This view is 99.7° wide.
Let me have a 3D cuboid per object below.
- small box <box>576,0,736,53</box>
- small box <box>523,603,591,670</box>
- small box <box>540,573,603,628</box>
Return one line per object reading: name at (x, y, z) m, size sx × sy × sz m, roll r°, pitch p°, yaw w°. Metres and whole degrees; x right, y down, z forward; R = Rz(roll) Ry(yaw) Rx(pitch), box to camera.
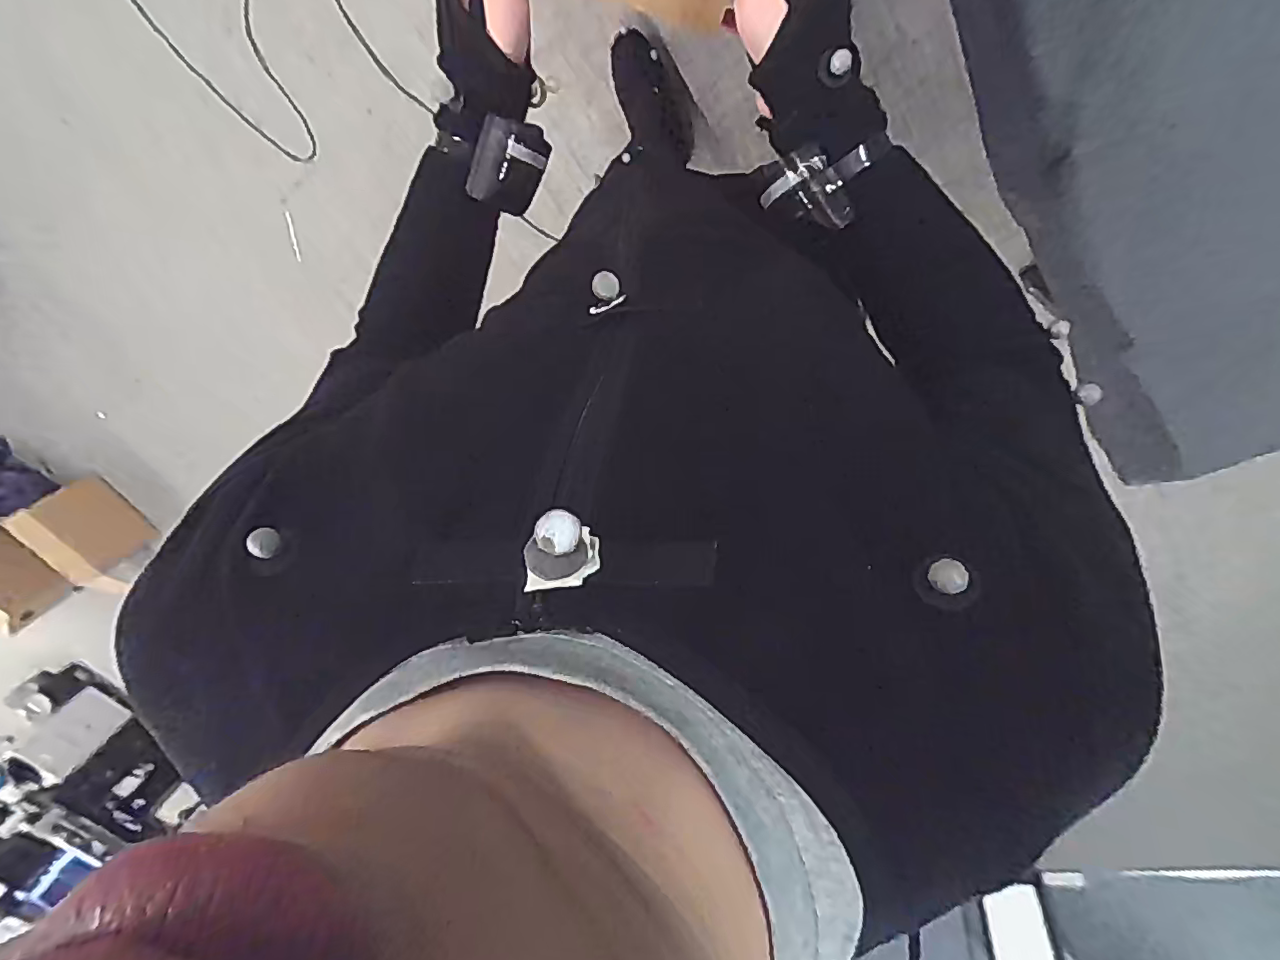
small box at (0.007, -0.443, 0.350) m, size 0.168 × 0.176 × 0.179 m, roll 8°, pitch 154°, yaw -16°
small box at (-0.308, 0.594, 2.067) m, size 0.179 × 0.176 × 0.168 m, roll -23°, pitch 114°, yaw 31°
small box at (-0.269, 0.501, 2.195) m, size 0.179 × 0.176 × 0.168 m, roll -24°, pitch 115°, yaw 29°
